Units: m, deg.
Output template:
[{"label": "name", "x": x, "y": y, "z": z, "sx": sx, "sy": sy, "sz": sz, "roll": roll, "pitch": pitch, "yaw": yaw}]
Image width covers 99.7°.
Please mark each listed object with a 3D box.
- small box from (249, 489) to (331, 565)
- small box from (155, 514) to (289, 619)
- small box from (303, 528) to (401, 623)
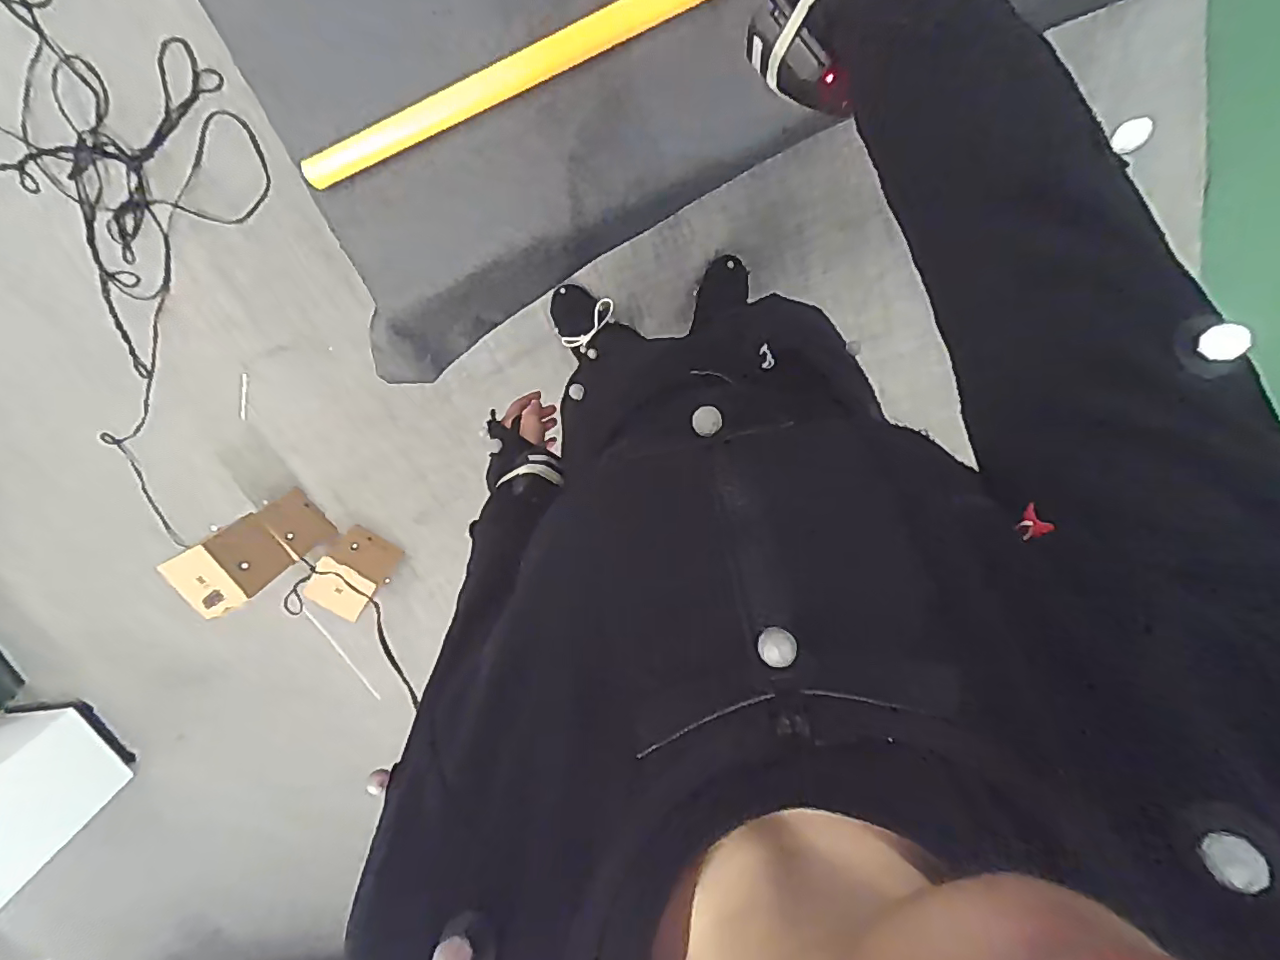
[{"label": "small box", "x": -1.034, "y": 0.156, "z": 1.539, "sx": 0.179, "sy": 0.176, "sz": 0.168, "roll": -27, "pitch": 109, "yaw": 18}, {"label": "small box", "x": -1.060, "y": 0.218, "z": 1.388, "sx": 0.168, "sy": 0.176, "sz": 0.179, "roll": -23, "pitch": 110, "yaw": 15}, {"label": "small box", "x": -0.831, "y": 0.272, "z": 1.577, "sx": 0.168, "sy": 0.176, "sz": 0.179, "roll": 34, "pitch": 115, "yaw": -10}]
